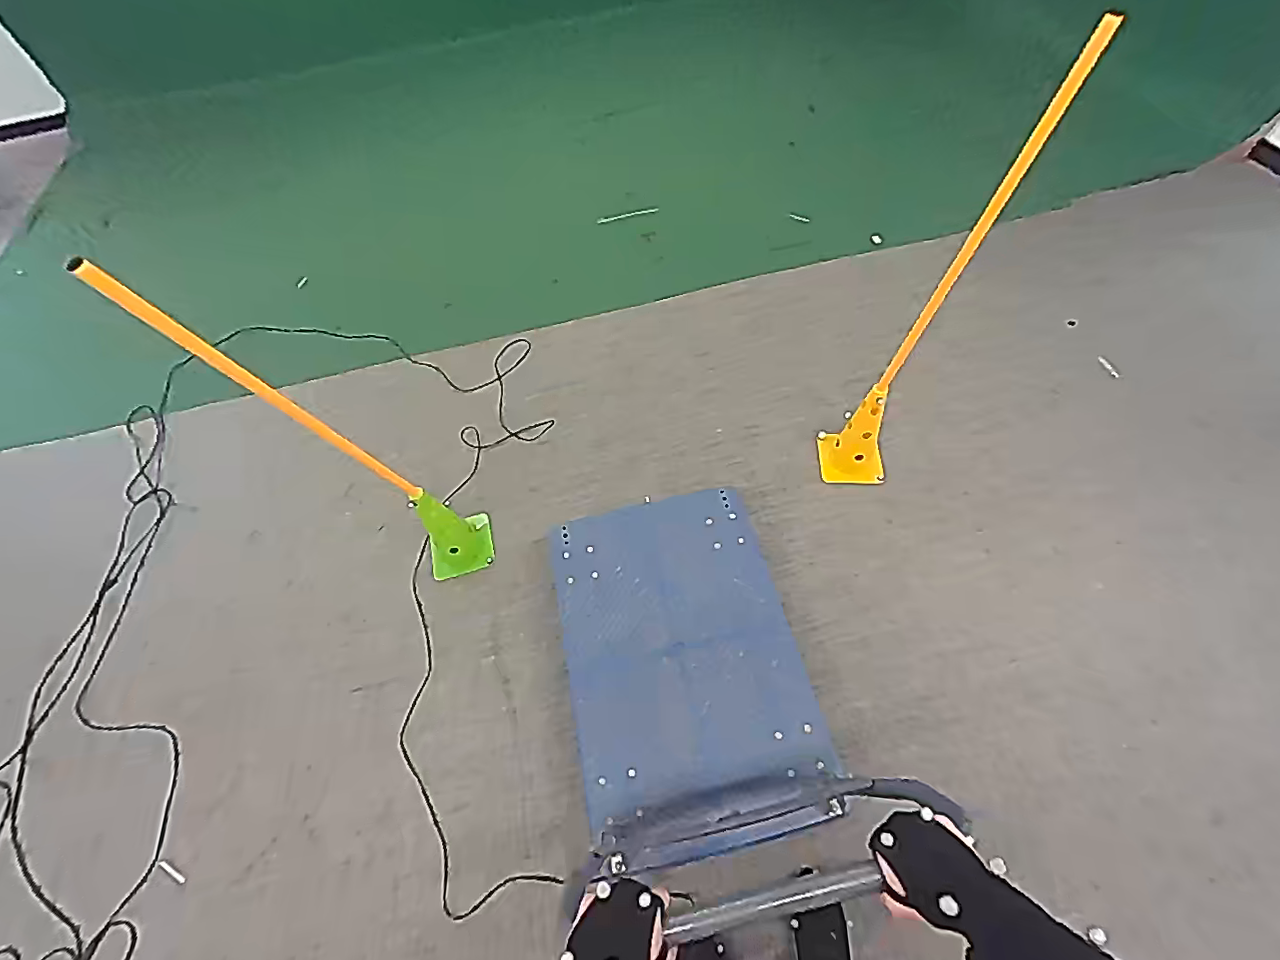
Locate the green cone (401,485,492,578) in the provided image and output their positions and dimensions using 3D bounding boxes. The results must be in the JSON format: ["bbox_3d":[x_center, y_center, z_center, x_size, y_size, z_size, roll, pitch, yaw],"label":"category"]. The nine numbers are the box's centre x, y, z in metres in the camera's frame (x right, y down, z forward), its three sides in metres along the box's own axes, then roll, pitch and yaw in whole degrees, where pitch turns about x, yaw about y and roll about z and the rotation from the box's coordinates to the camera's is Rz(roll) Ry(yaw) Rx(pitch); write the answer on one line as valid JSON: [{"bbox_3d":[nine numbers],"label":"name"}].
[{"bbox_3d":[-0.607,0.118,1.619,0.202,0.368,0.200,-18,58,-4],"label":"green cone"}]
